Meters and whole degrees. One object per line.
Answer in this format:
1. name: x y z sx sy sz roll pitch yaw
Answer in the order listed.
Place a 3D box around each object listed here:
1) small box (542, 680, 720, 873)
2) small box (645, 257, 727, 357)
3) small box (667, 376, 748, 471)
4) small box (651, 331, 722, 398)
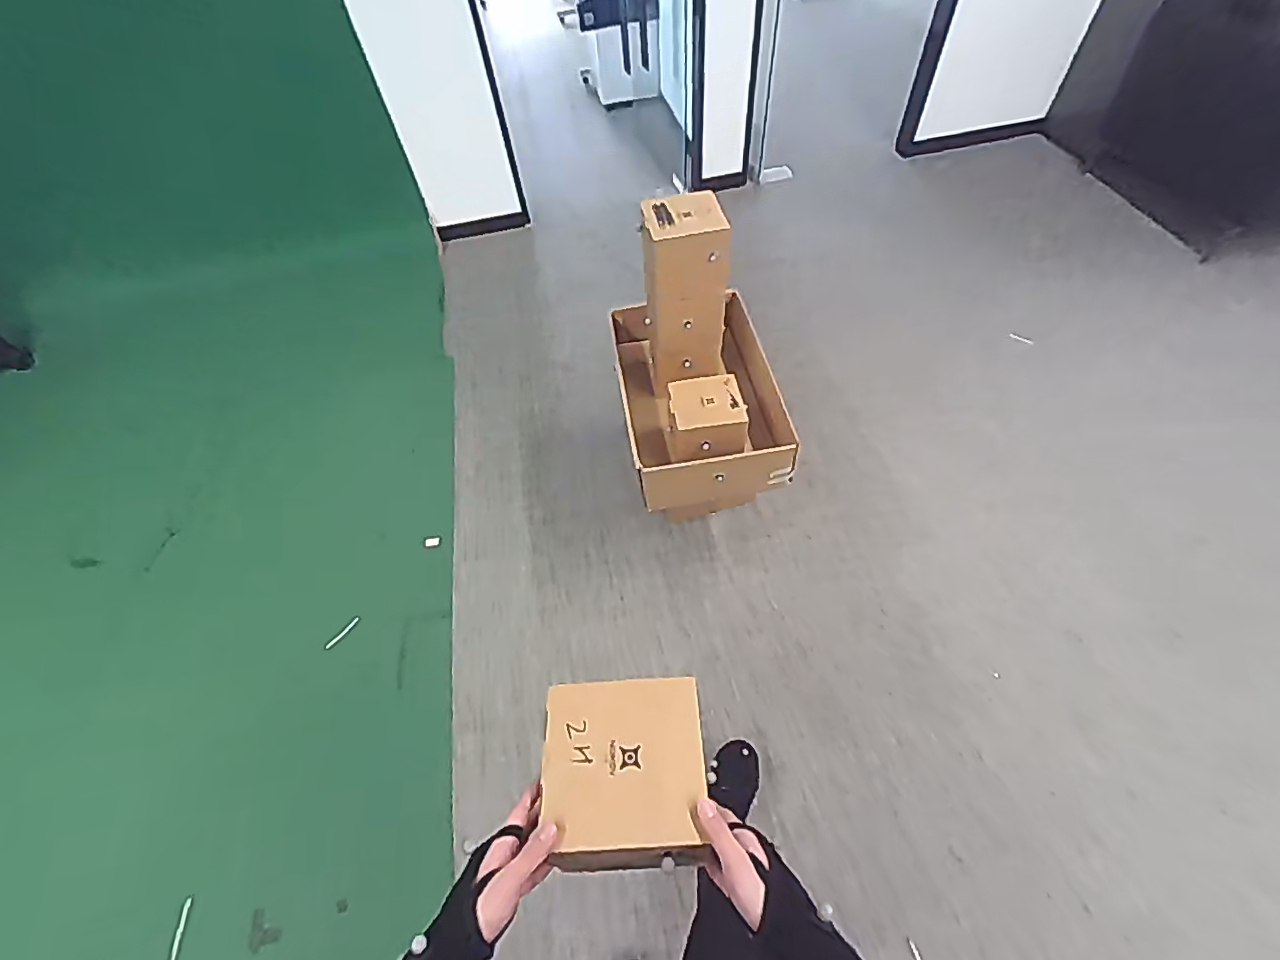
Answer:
1. small box: -0.007 0.350 0.635 0.179 0.176 0.168 -5 48 2
2. small box: 0.116 -0.446 1.407 0.179 0.176 0.168 -11 56 -2
3. small box: 0.171 -0.139 1.387 0.179 0.176 0.168 -8 55 0
4. small box: 0.128 -0.357 1.545 0.179 0.176 0.168 -10 56 -1
